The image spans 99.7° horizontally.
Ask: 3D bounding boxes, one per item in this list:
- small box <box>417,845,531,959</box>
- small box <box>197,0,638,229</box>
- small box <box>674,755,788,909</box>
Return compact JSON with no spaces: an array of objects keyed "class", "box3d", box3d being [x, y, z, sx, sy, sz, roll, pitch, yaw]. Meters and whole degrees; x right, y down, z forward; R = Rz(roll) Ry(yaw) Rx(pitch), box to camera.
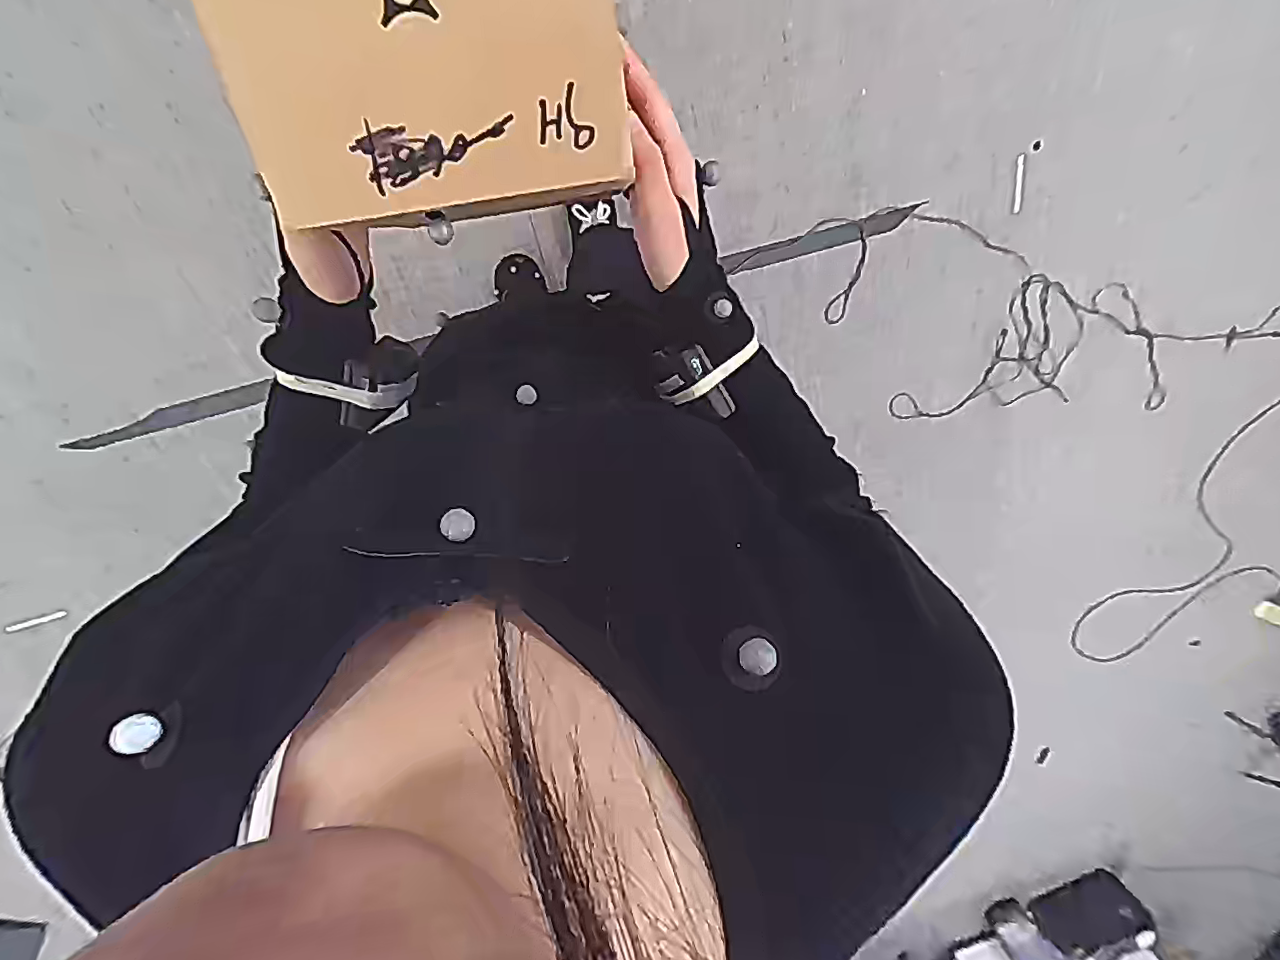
[{"class":"small box","box3d":[-0.305,0.845,1.032,0.168,0.176,0.179,-12,117,-7]},{"class":"small box","box3d":[-0.097,-0.236,0.281,0.168,0.176,0.179,-9,115,1]},{"class":"small box","box3d":[0.173,0.676,1.050,0.168,0.176,0.179,-15,117,-4]}]
